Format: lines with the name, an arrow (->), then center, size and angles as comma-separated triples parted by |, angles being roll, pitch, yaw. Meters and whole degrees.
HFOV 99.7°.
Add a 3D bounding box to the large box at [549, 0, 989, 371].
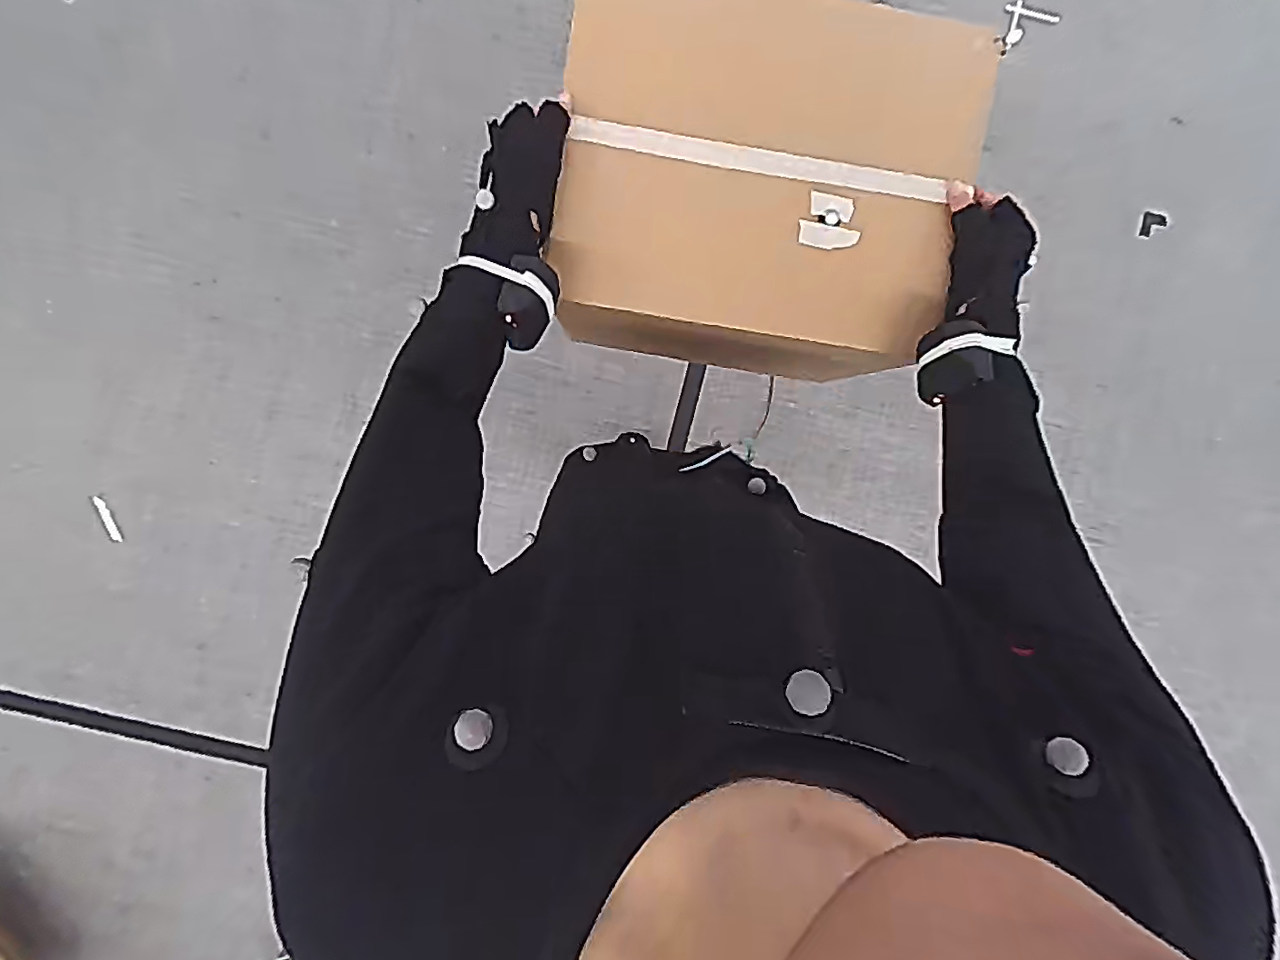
large box -> 0.117, -0.331, 0.678 | 0.408, 0.320, 0.320 | 9, 97, -3
